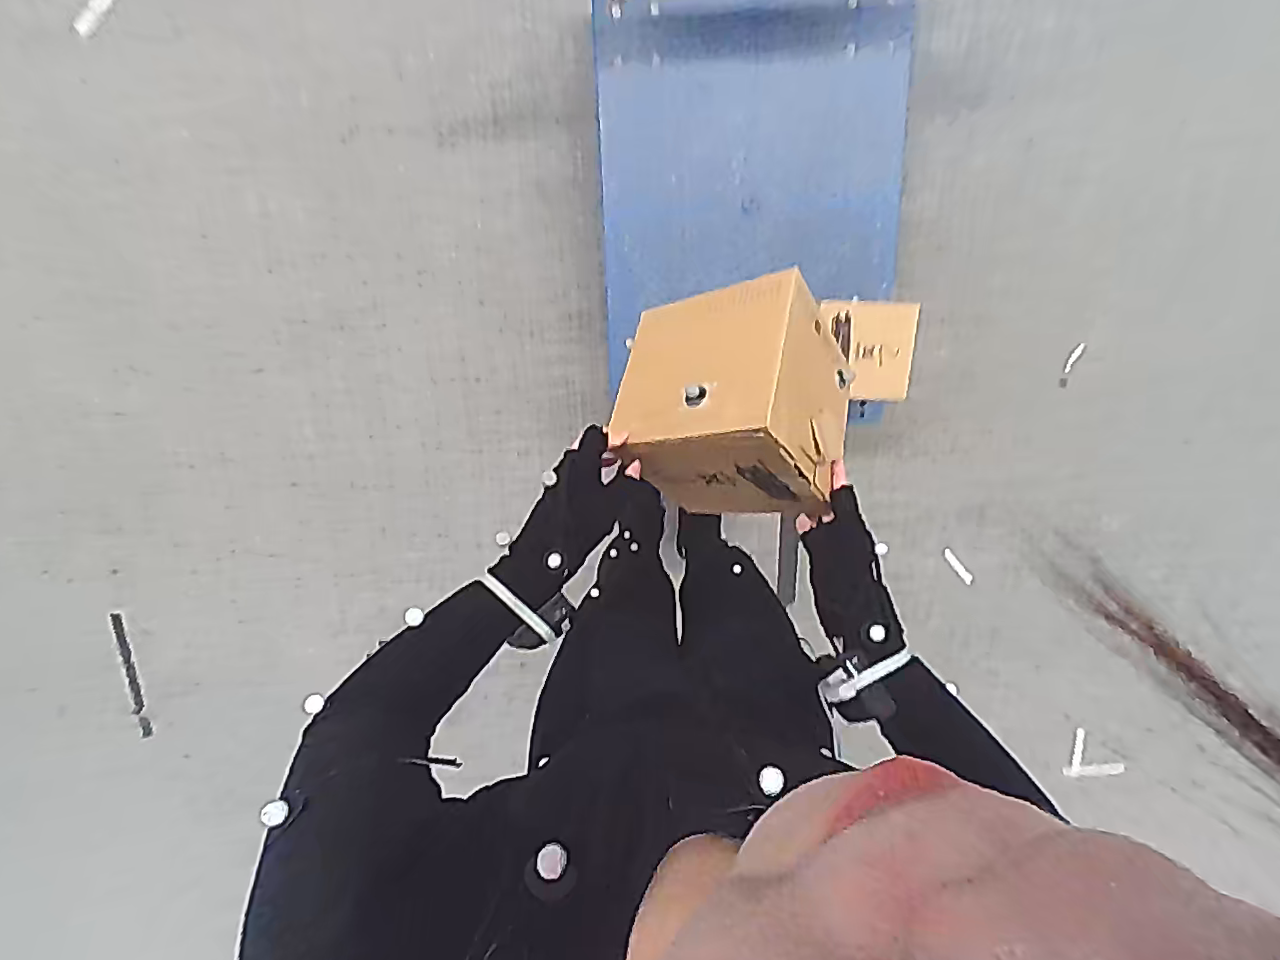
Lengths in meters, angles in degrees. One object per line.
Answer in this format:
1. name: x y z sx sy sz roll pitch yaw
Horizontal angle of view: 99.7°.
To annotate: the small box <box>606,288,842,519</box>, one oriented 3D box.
1. small box: 0.096 -0.068 0.553 0.168 0.179 0.176 36 61 -44
